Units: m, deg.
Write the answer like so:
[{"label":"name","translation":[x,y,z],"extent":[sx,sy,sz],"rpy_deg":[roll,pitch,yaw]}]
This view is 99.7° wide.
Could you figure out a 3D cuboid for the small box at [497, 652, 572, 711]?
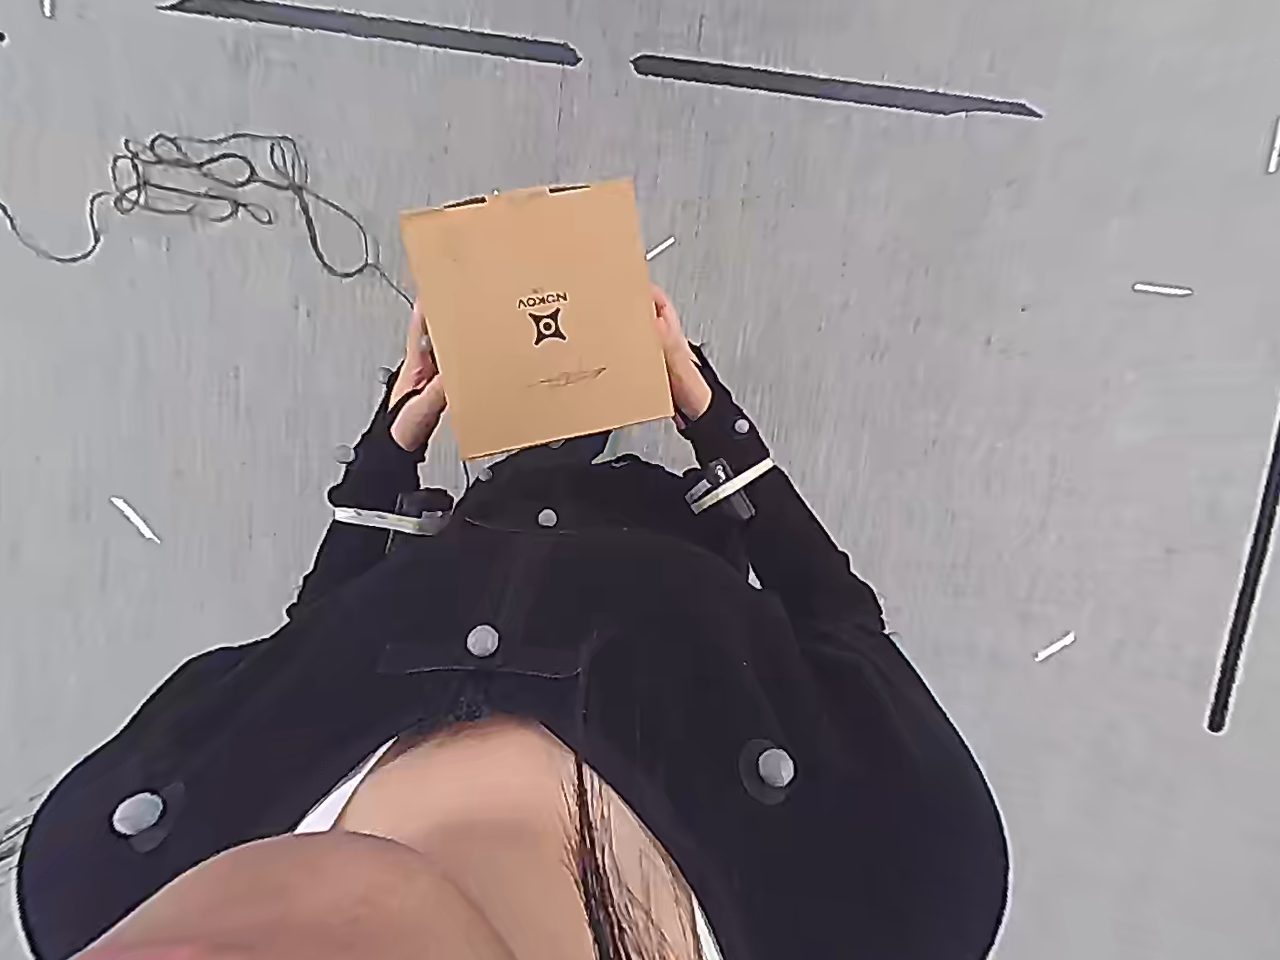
[{"label":"small box","translation":[-0.285,0.580,1.467],"extent":[0.179,0.176,0.168],"rpy_deg":[5,96,-3]}]

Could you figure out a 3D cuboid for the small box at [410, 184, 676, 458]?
[{"label":"small box","translation":[-0.079,-0.126,0.469],"extent":[0.168,0.176,0.179],"rpy_deg":[-12,101,-8]}]

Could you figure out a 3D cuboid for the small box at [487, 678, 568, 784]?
[{"label":"small box","translation":[-0.272,0.596,1.303],"extent":[0.179,0.176,0.168],"rpy_deg":[8,95,-3]}]

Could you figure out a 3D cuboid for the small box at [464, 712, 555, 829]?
[{"label":"small box","translation":[-0.276,0.617,1.141],"extent":[0.168,0.176,0.179],"rpy_deg":[7,95,-2]}]
